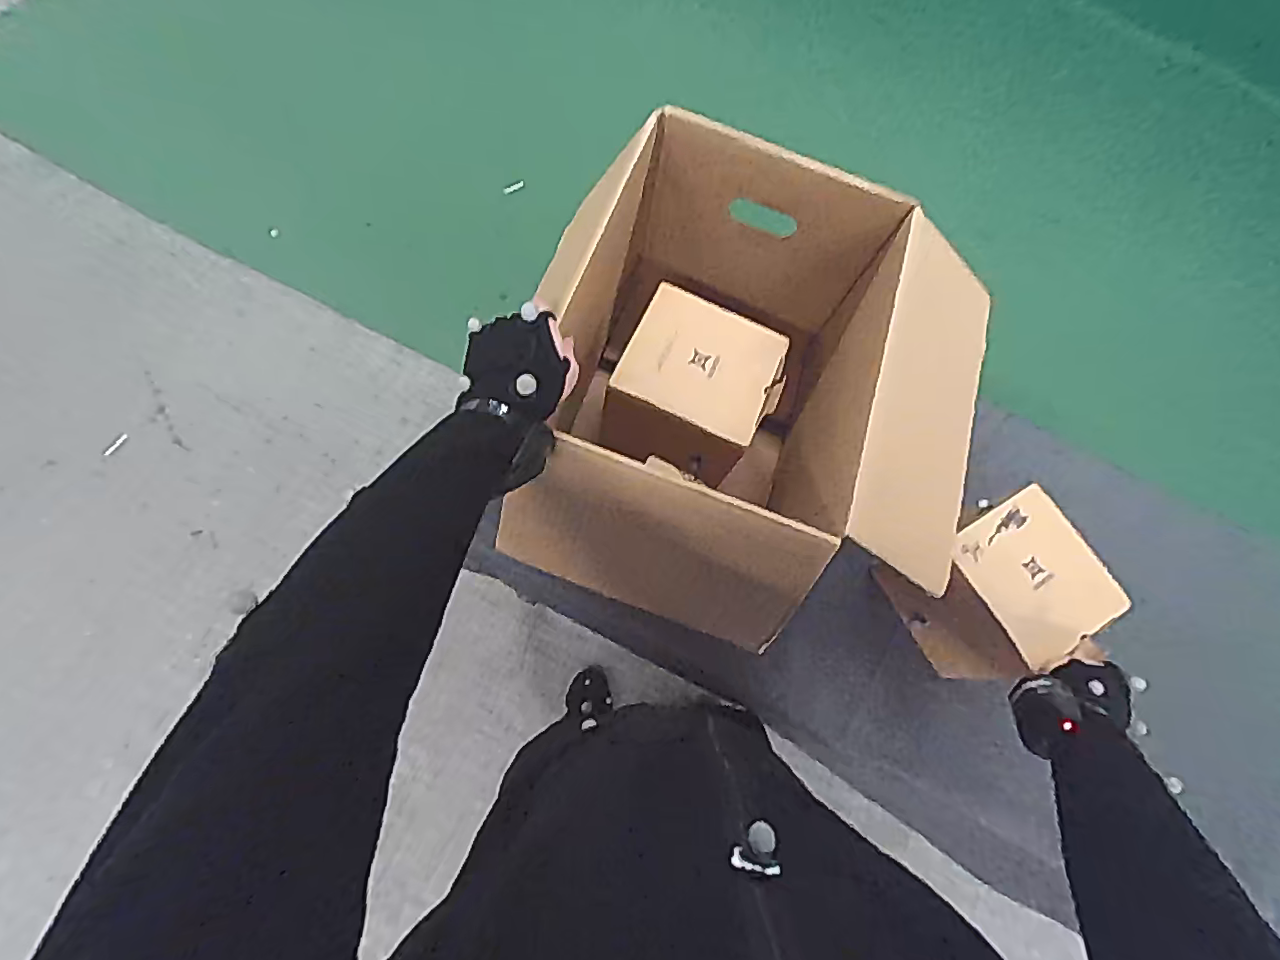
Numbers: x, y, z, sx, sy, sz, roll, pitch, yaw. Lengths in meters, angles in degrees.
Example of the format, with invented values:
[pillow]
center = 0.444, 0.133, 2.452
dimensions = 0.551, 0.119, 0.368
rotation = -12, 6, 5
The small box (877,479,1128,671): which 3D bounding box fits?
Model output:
[small box]
center = 0.457, 0.126, 0.711
dimensions = 0.168, 0.176, 0.179
rotation = -26, 78, -12
